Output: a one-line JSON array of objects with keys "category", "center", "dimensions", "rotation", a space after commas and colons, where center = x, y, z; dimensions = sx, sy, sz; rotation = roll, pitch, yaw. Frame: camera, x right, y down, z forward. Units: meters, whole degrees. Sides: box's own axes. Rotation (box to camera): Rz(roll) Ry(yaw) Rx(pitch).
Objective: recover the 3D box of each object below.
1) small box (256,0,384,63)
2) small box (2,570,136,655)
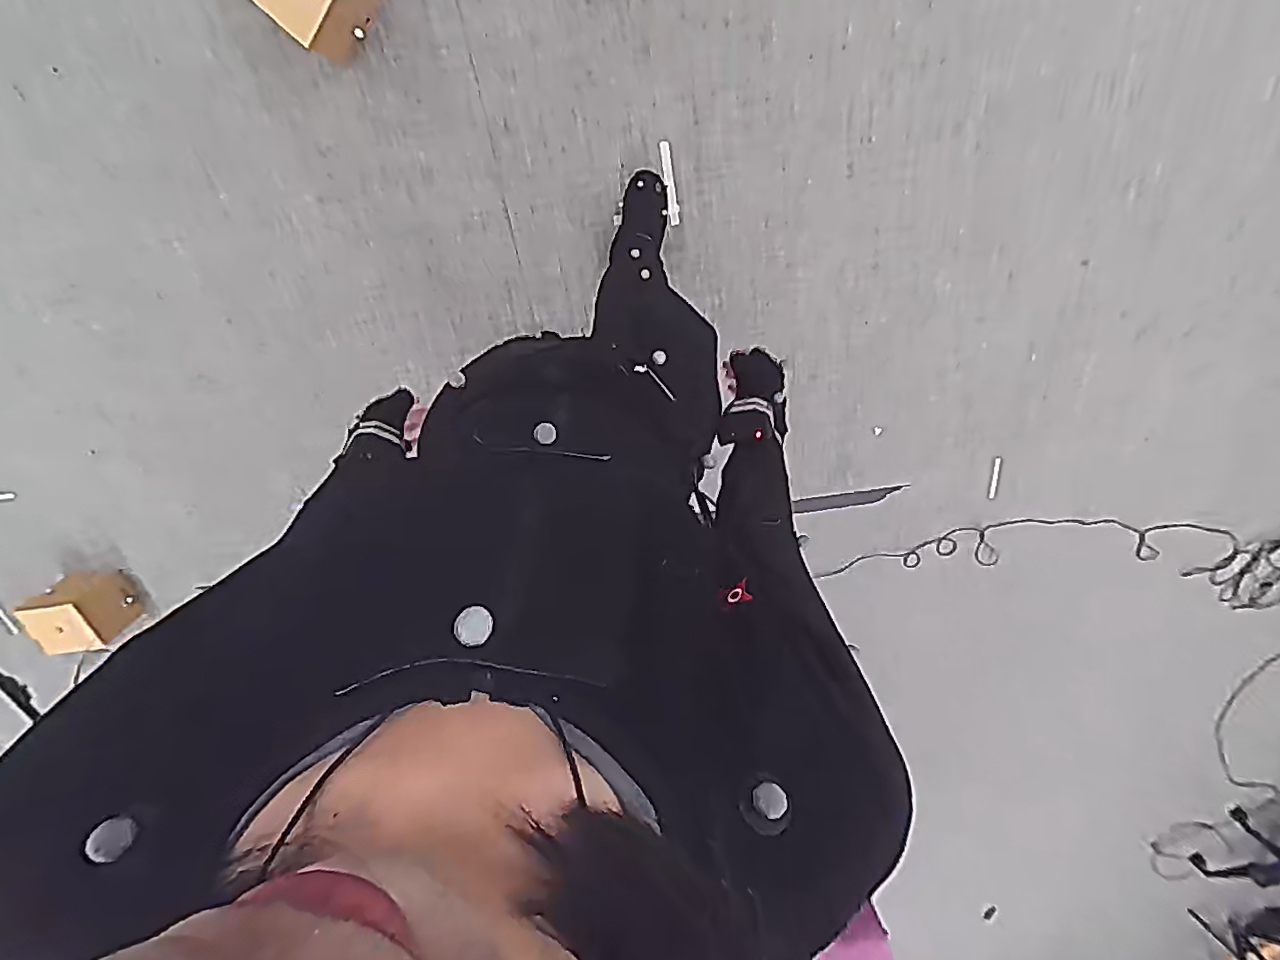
[{"category": "small box", "center": [-0.622, -0.933, 1.012], "dimensions": [0.179, 0.176, 0.168], "rotation": [38, 109, -20]}, {"category": "small box", "center": [-1.668, 0.386, 1.593], "dimensions": [0.179, 0.176, 0.168], "rotation": [-9, 117, 0]}]
